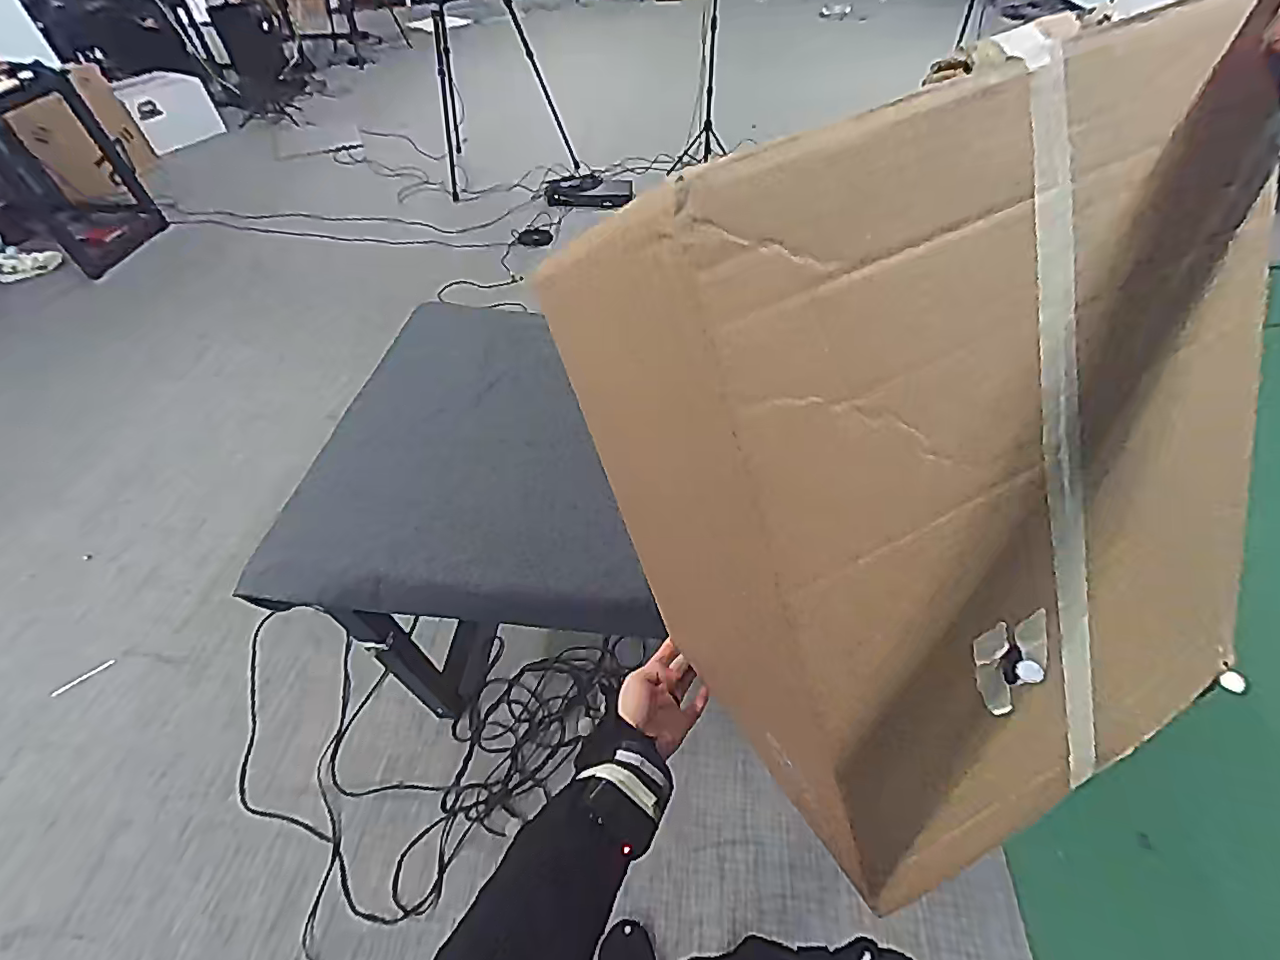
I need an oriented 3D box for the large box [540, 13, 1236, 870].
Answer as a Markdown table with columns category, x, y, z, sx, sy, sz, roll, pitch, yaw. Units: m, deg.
| category | x | y | z | sx | sy | sz | roll | pitch | yaw |
| --- | --- | --- | --- | --- | --- | --- | --- | --- | --- |
| large box | 0.161 | -0.027 | 0.430 | 0.320 | 0.408 | 0.320 | -26 | 23 | -12 |
